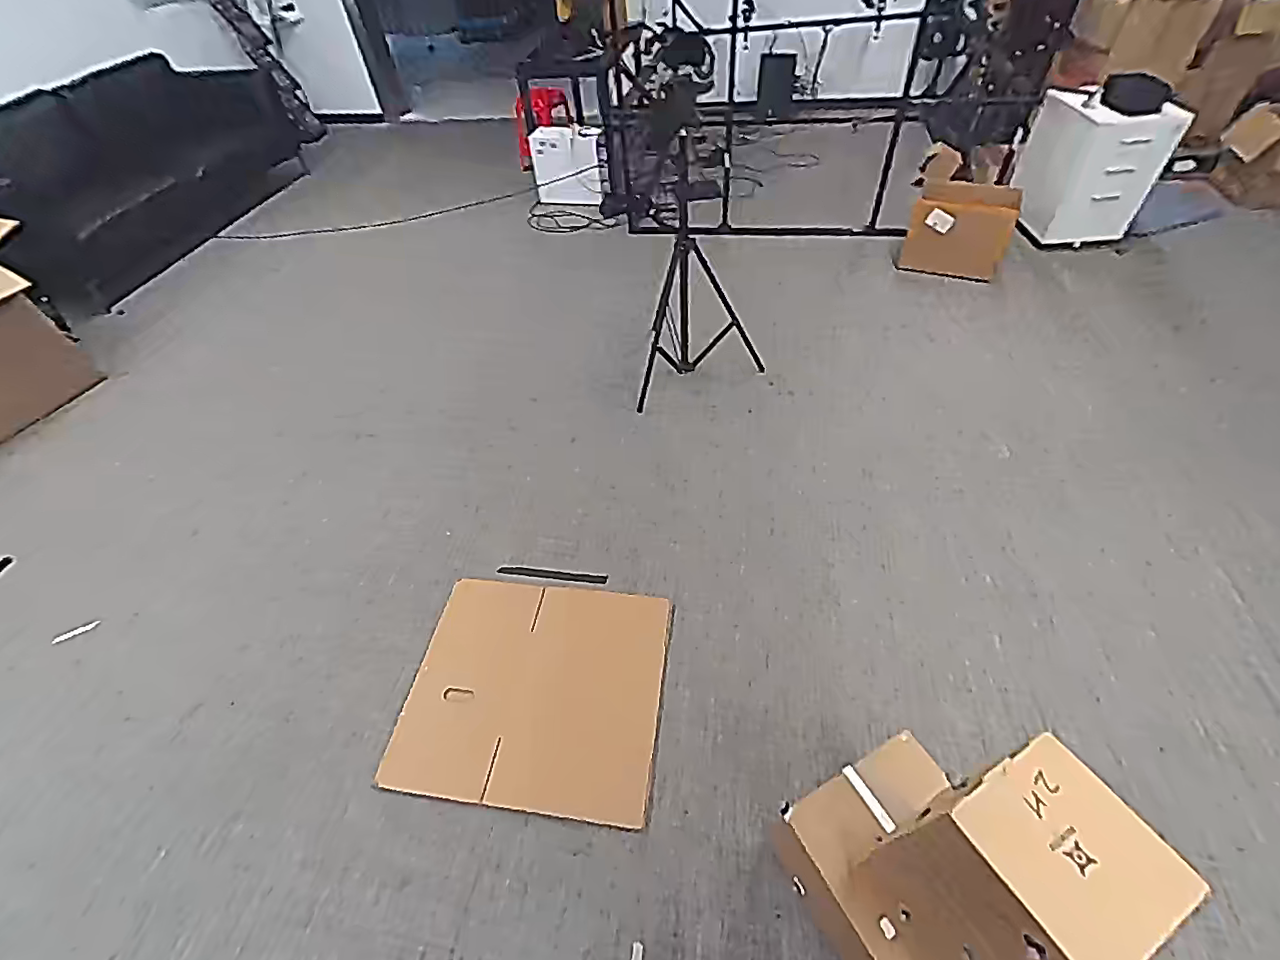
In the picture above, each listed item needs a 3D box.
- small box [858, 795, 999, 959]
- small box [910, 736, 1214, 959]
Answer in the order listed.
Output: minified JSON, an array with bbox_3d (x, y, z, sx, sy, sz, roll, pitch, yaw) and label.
[{"bbox_3d":[0.478,0.646,0.858,0.168,0.176,0.179,-27,53,-16],"label":"small box"},{"bbox_3d":[0.449,0.431,0.610,0.168,0.176,0.179,-25,52,-16],"label":"small box"}]
